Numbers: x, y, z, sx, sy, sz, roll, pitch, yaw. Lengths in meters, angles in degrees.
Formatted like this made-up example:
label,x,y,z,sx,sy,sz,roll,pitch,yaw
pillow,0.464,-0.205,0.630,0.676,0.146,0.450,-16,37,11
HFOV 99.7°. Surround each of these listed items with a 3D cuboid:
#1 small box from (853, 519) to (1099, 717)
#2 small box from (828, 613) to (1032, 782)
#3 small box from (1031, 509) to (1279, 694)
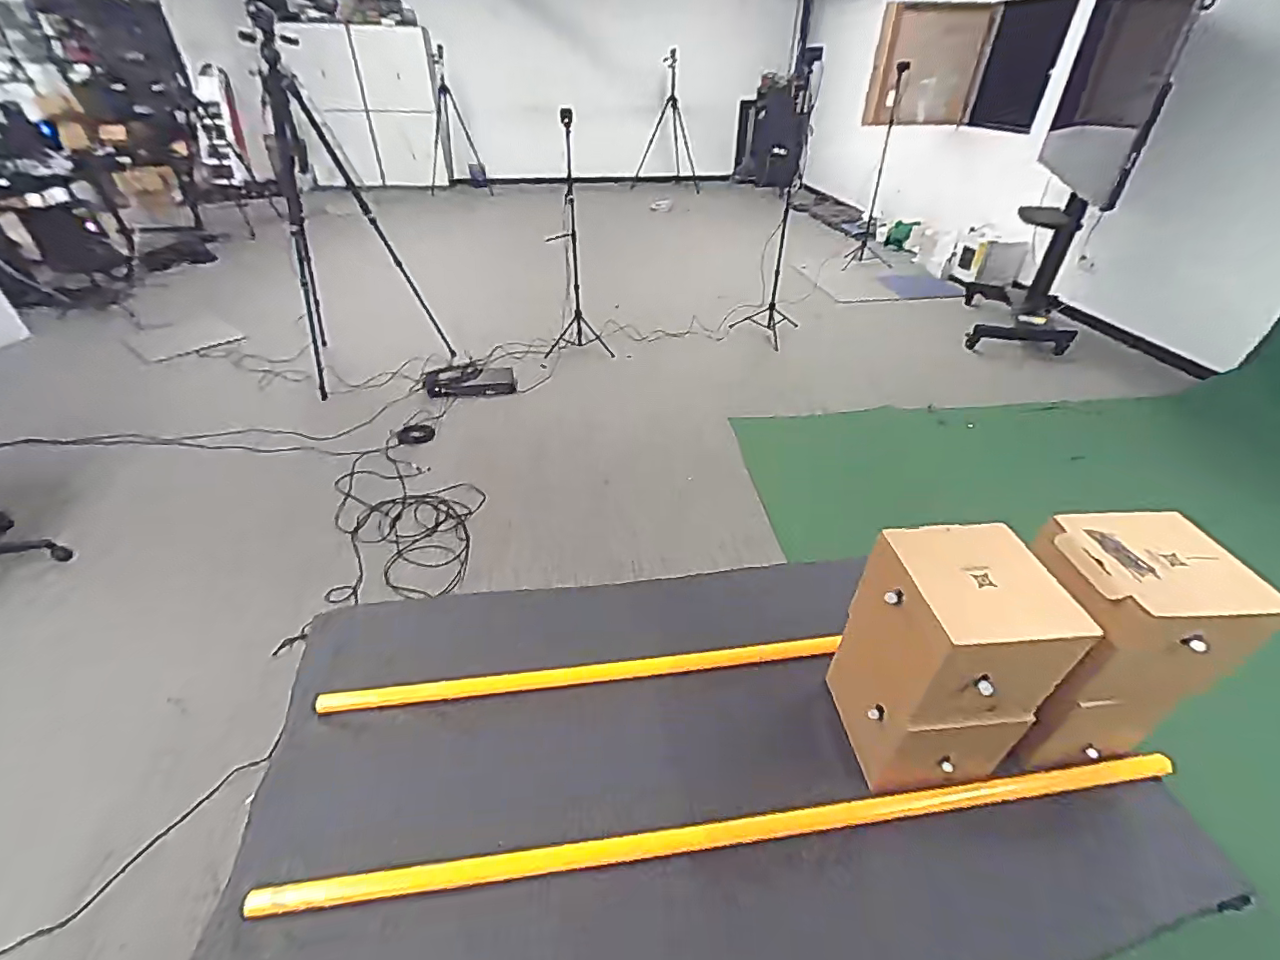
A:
label,x,y,z,sx,sy,sz,roll,pitch,yaw
small box,0.387,0.171,0.664,0.168,0.176,0.179,-3,38,-4
small box,0.387,0.302,0.760,0.168,0.176,0.179,-3,38,-5
small box,0.615,0.154,0.685,0.179,0.176,0.168,-1,39,-3
